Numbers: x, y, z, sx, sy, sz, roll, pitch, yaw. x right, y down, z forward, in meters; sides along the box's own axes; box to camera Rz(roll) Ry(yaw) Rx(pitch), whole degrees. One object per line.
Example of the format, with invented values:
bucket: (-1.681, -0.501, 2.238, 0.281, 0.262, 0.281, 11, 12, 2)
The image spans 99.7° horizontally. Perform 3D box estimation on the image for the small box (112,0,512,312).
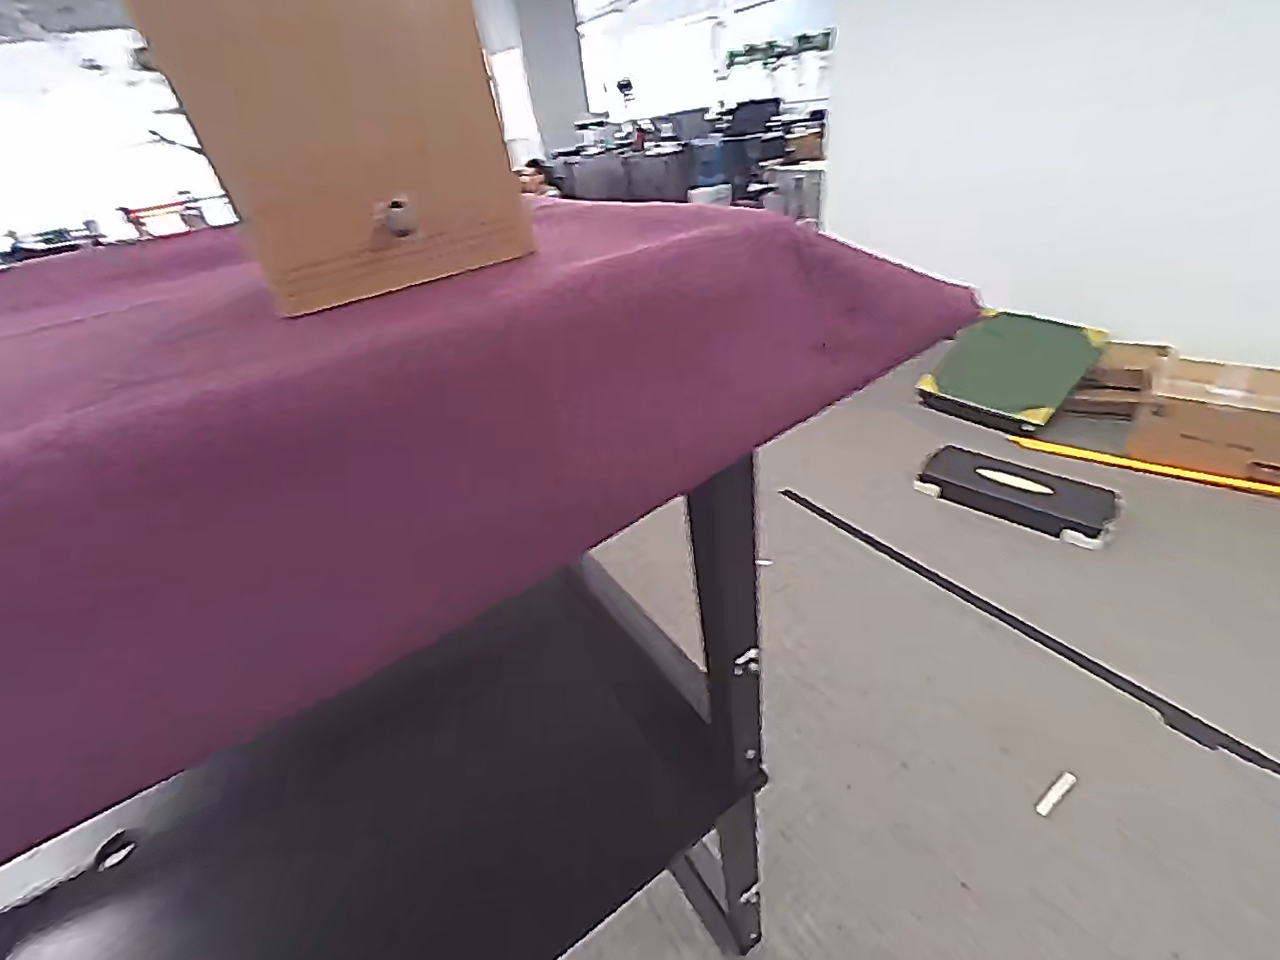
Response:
small box: (-0.203, -0.234, 0.378, 0.179, 0.176, 0.168, -25, 36, -21)
